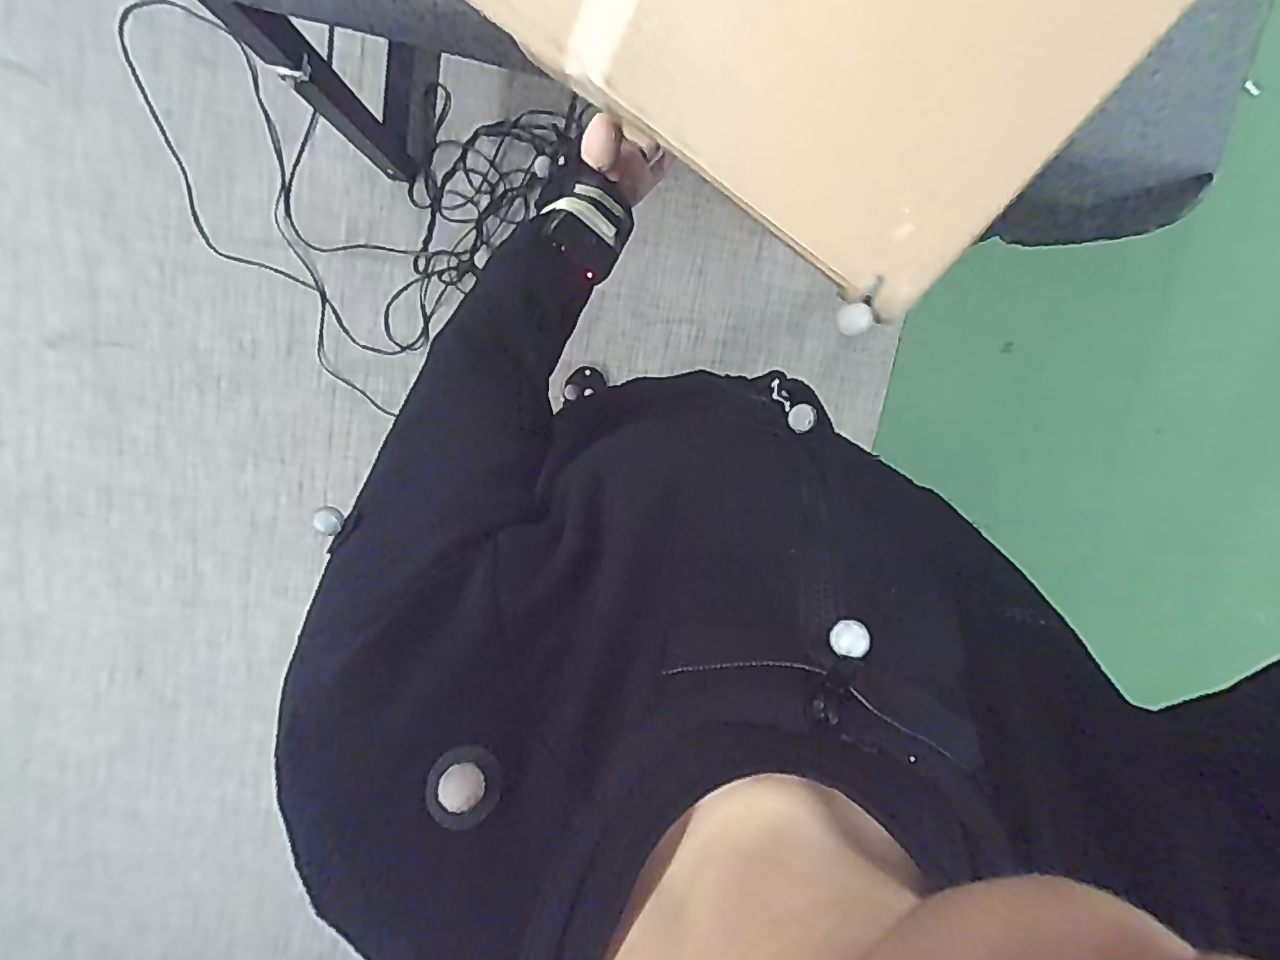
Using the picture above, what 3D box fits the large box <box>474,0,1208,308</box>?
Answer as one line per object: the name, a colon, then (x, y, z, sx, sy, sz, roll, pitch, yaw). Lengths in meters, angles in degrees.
large box: (0.157, -0.355, 0.254, 0.320, 0.320, 0.408, 41, 124, 8)
